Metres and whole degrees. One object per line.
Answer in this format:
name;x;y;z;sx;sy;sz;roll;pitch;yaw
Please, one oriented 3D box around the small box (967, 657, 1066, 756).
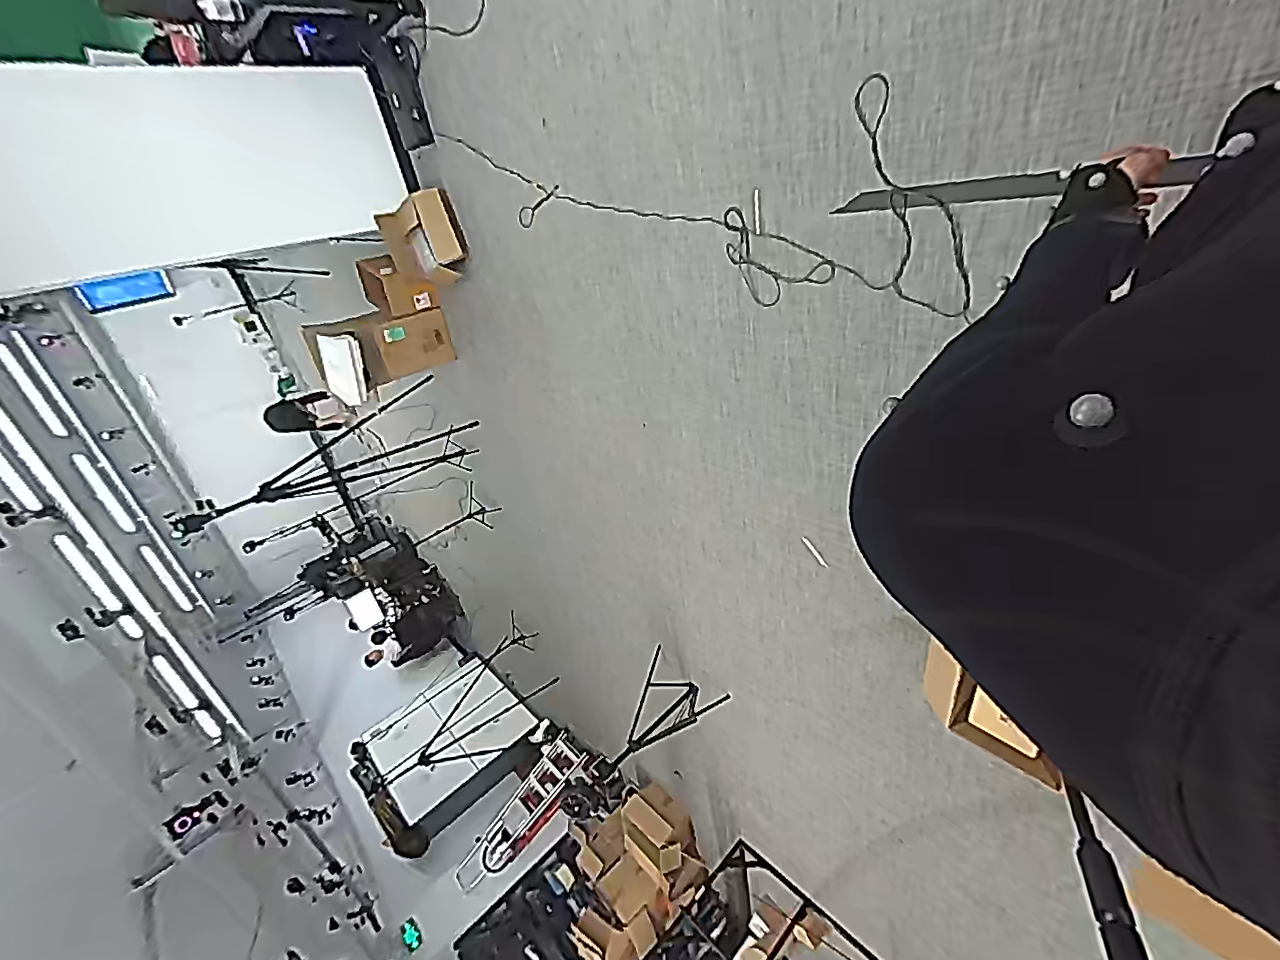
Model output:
small box;1.091;0.645;1.570;0.179;0.176;0.168;24;131;43
